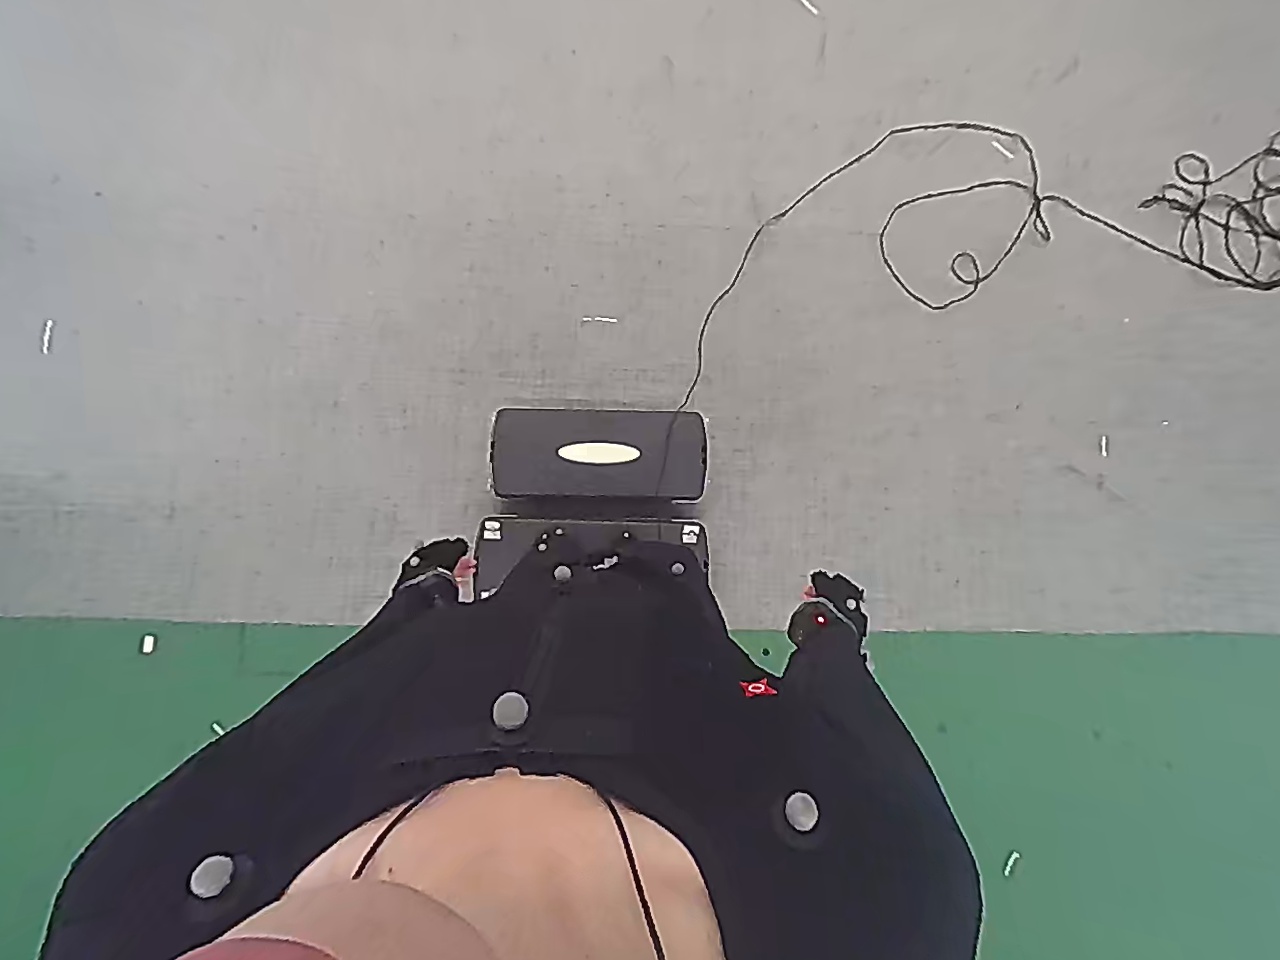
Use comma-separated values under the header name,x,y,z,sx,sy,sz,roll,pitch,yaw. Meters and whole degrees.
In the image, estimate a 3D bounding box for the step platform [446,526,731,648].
name,x,y,z,sx,sy,sz,roll,pitch,yaw
step platform,-0.123,0.267,1.386,0.684,0.204,0.286,1,83,-3
